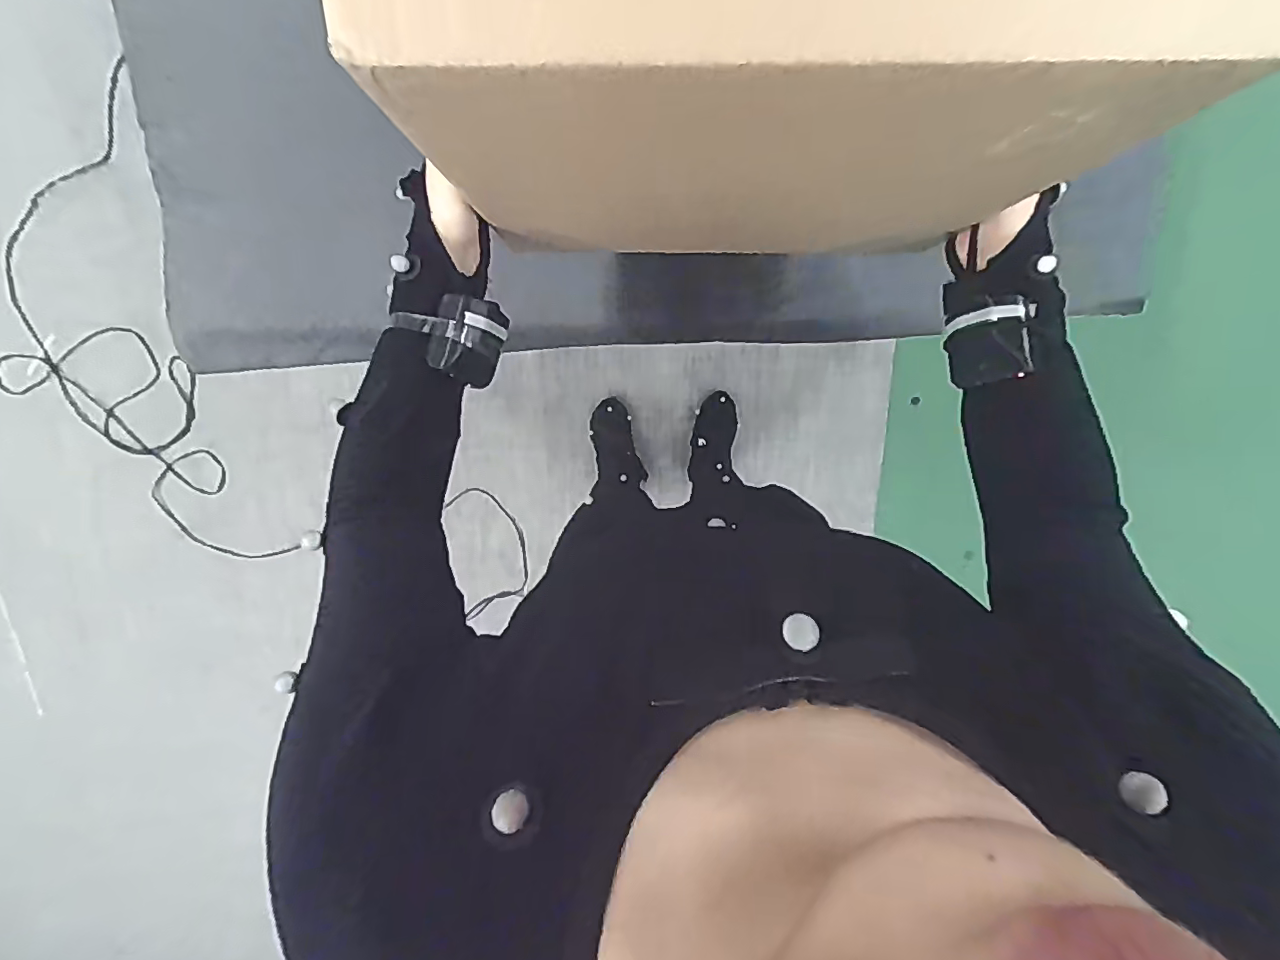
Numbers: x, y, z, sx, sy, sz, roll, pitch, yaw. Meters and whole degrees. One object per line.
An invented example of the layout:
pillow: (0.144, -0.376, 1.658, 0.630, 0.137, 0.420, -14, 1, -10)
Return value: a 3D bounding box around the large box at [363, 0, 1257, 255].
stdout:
large box: (0.070, -0.356, 0.367, 0.408, 0.320, 0.320, -1, 100, 0)
